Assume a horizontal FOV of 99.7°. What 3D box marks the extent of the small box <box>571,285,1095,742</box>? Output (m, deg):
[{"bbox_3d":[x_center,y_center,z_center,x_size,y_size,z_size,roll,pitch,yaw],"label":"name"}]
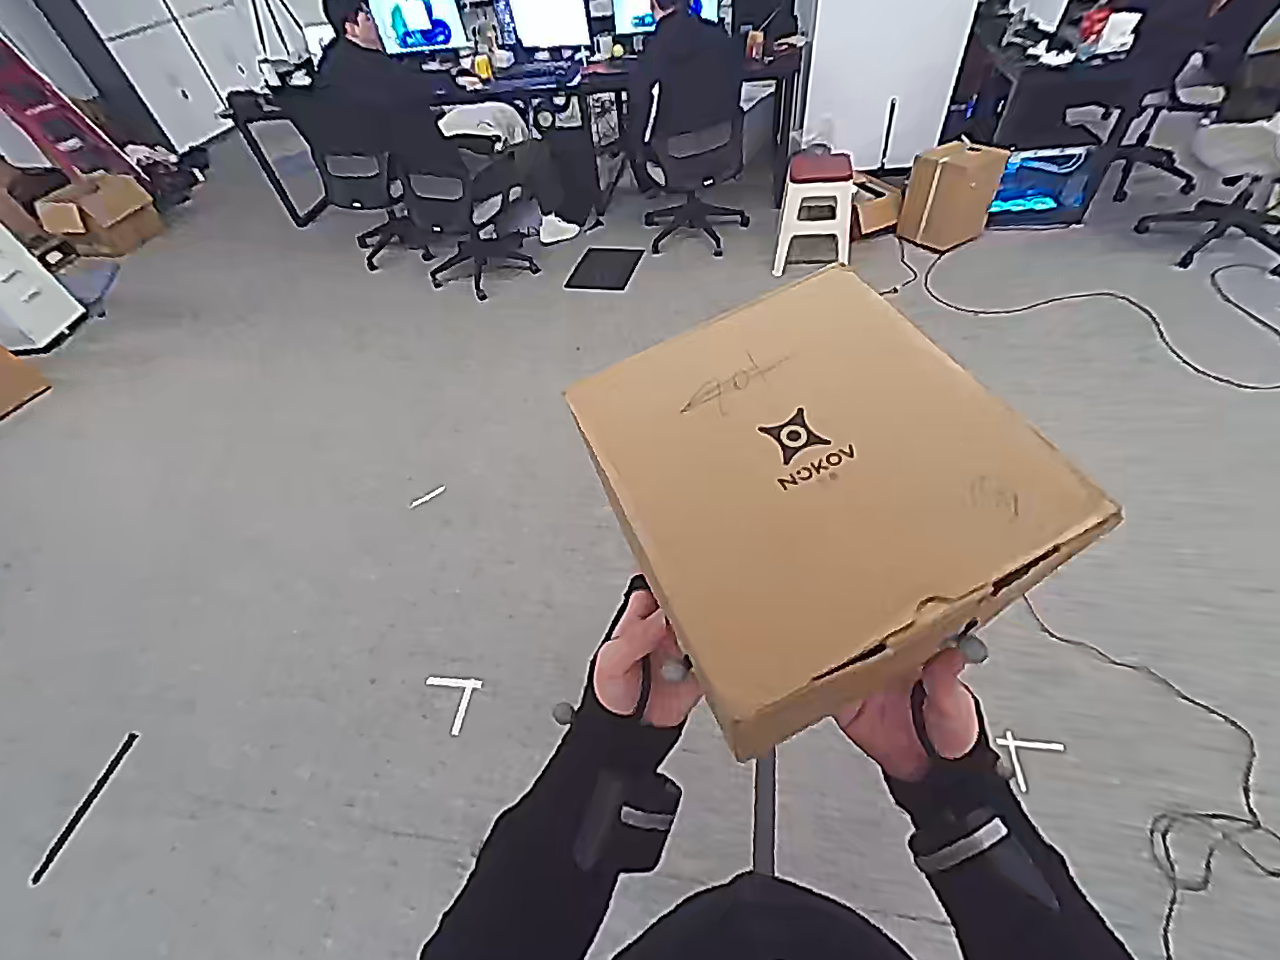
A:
[{"bbox_3d":[0.083,0.030,0.313,0.168,0.176,0.179,-26,57,-8],"label":"small box"}]
